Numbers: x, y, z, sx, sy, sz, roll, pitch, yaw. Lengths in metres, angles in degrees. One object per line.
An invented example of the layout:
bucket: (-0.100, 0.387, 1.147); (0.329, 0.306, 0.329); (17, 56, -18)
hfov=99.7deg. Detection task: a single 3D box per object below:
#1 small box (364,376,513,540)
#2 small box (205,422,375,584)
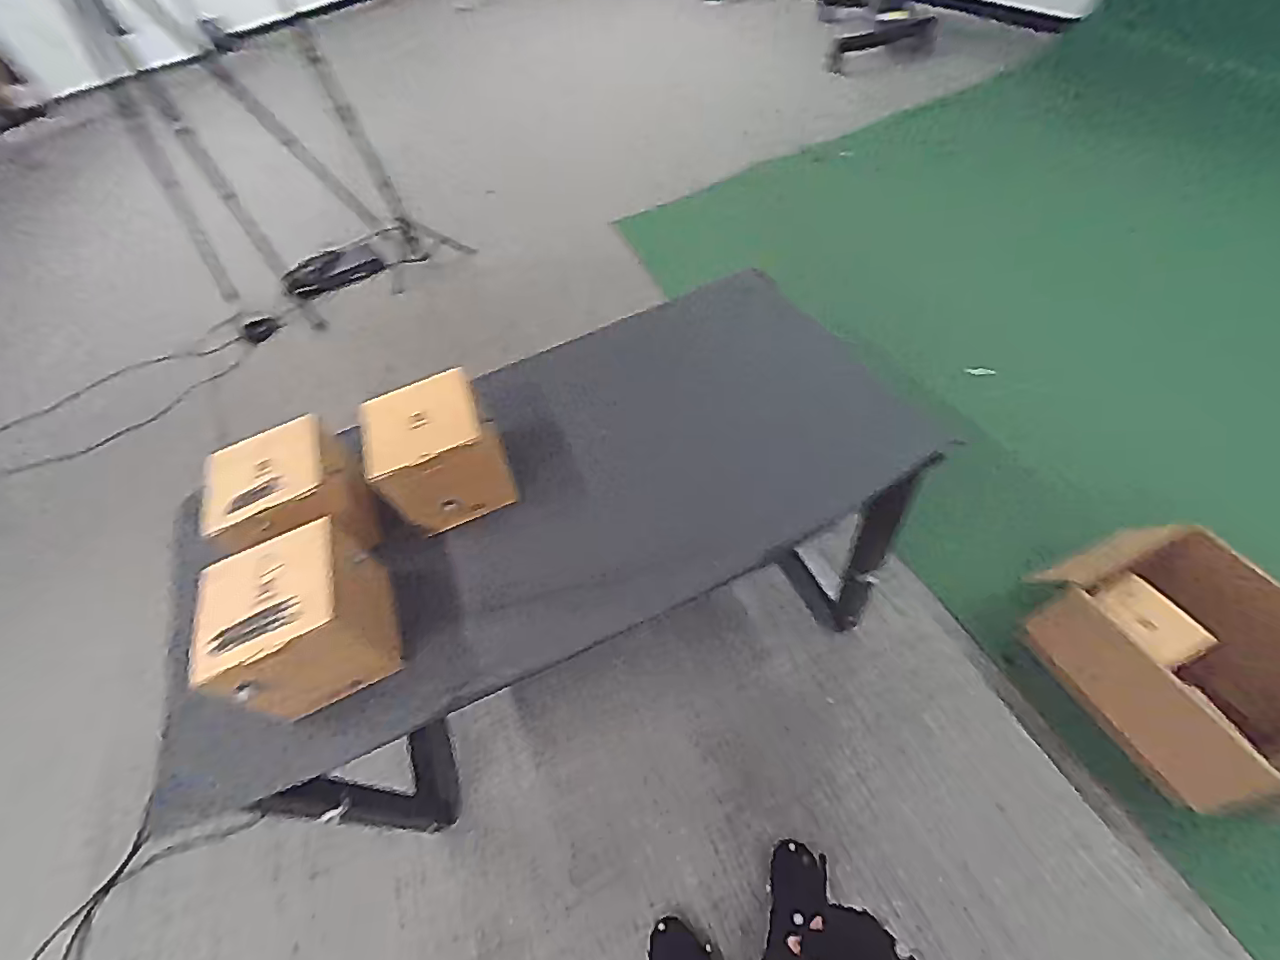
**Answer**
small box: (-0.329, -0.033, 0.893); (0.168, 0.176, 0.179); (-23, 54, -7)
small box: (-0.555, 0.046, 0.876); (0.168, 0.176, 0.179); (-25, 53, -8)
